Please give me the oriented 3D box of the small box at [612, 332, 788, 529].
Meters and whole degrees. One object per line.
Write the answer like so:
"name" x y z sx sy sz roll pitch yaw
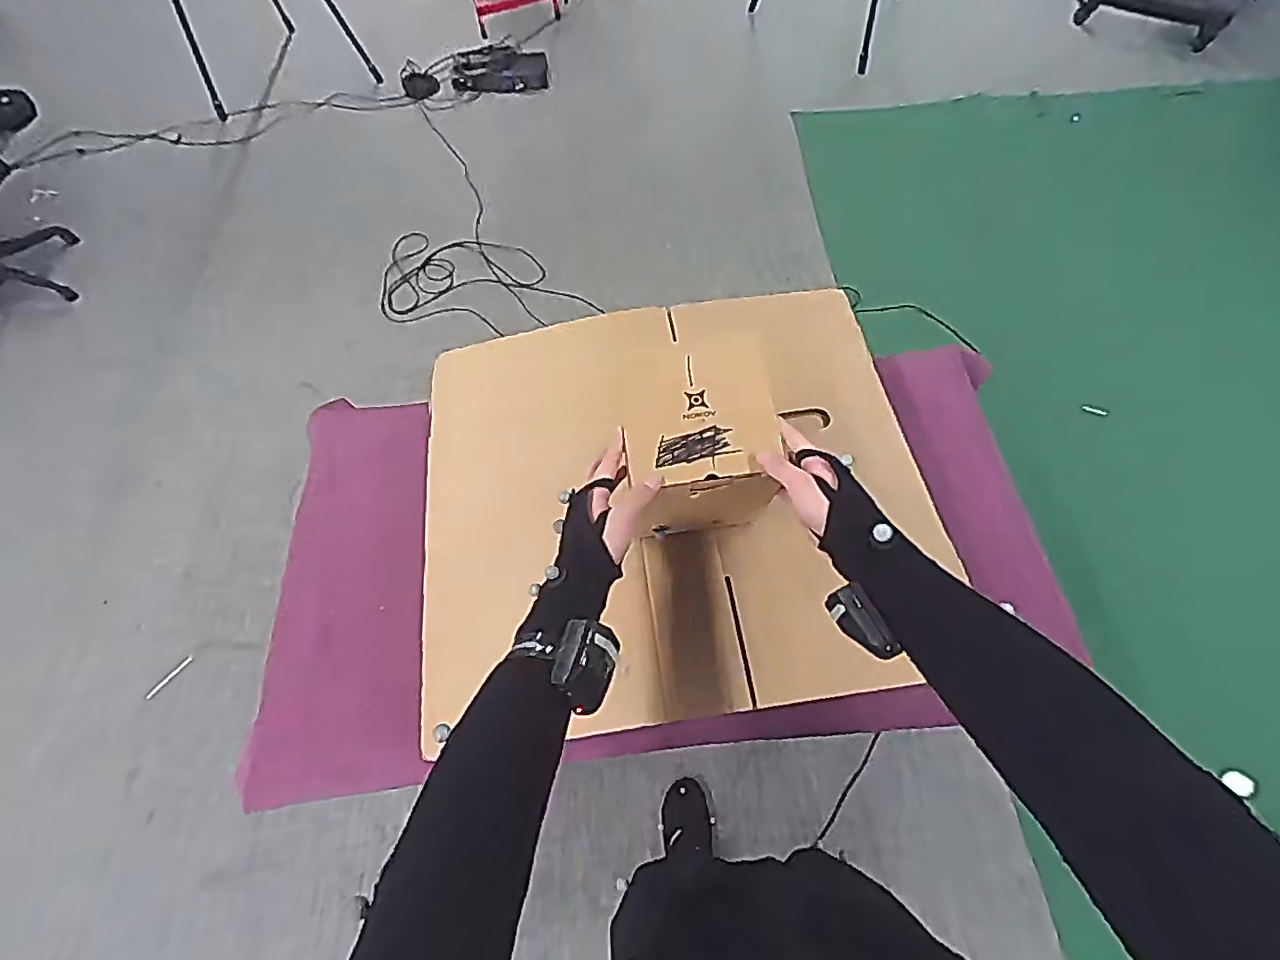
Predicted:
"small box" 0.061 -0.047 0.648 0.168 0.176 0.179 -7 67 -3
